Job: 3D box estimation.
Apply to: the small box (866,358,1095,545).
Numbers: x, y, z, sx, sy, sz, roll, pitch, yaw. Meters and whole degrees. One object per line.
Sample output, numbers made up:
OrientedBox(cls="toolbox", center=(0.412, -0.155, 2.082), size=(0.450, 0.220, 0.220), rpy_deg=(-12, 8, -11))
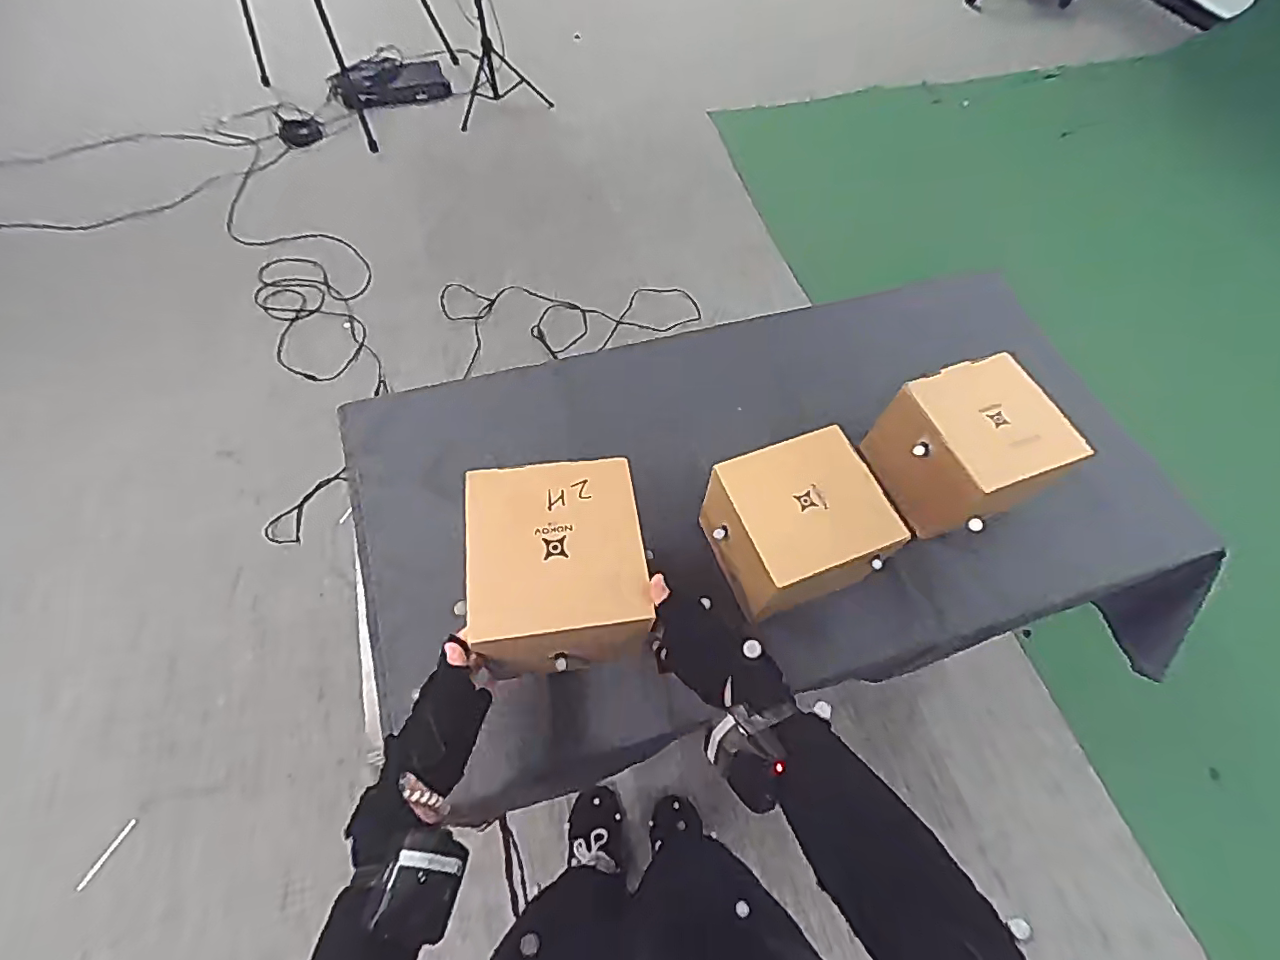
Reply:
OrientedBox(cls="small box", center=(0.450, -0.035, 0.753), size=(0.168, 0.176, 0.179), rpy_deg=(-17, 64, -9))

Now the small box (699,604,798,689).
OrientedBox(cls="small box", center=(0.259, 0.402, 1.338), size=(0.179, 0.176, 0.168), rpy_deg=(-17, 64, -9))

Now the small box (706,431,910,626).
OrientedBox(cls="small box", center=(0.194, 0.069, 0.693), size=(0.179, 0.176, 0.168), rpy_deg=(-19, 64, -11))

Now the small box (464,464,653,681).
OrientedBox(cls="small box", center=(-0.086, 0.104, 0.571), size=(0.168, 0.176, 0.179), rpy_deg=(-5, 60, -10))
